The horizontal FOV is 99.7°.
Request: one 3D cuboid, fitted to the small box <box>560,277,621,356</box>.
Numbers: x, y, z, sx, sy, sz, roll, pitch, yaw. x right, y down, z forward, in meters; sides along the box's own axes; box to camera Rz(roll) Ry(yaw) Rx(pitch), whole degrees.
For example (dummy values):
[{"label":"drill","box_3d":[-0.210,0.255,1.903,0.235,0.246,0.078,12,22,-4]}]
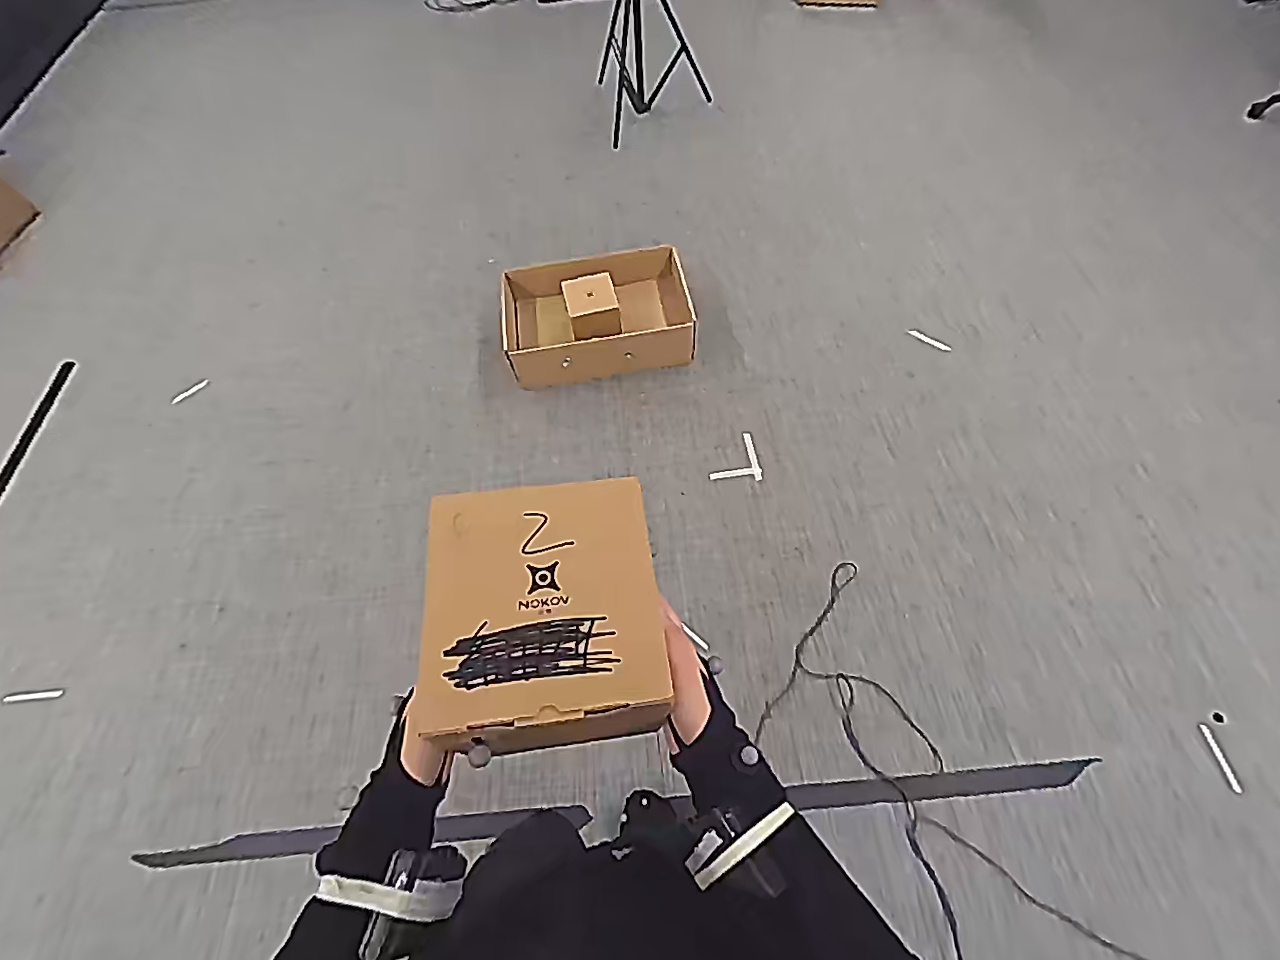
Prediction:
[{"label":"small box","box_3d":[-0.165,-0.555,1.843,0.168,0.176,0.179,-15,62,-4]}]
